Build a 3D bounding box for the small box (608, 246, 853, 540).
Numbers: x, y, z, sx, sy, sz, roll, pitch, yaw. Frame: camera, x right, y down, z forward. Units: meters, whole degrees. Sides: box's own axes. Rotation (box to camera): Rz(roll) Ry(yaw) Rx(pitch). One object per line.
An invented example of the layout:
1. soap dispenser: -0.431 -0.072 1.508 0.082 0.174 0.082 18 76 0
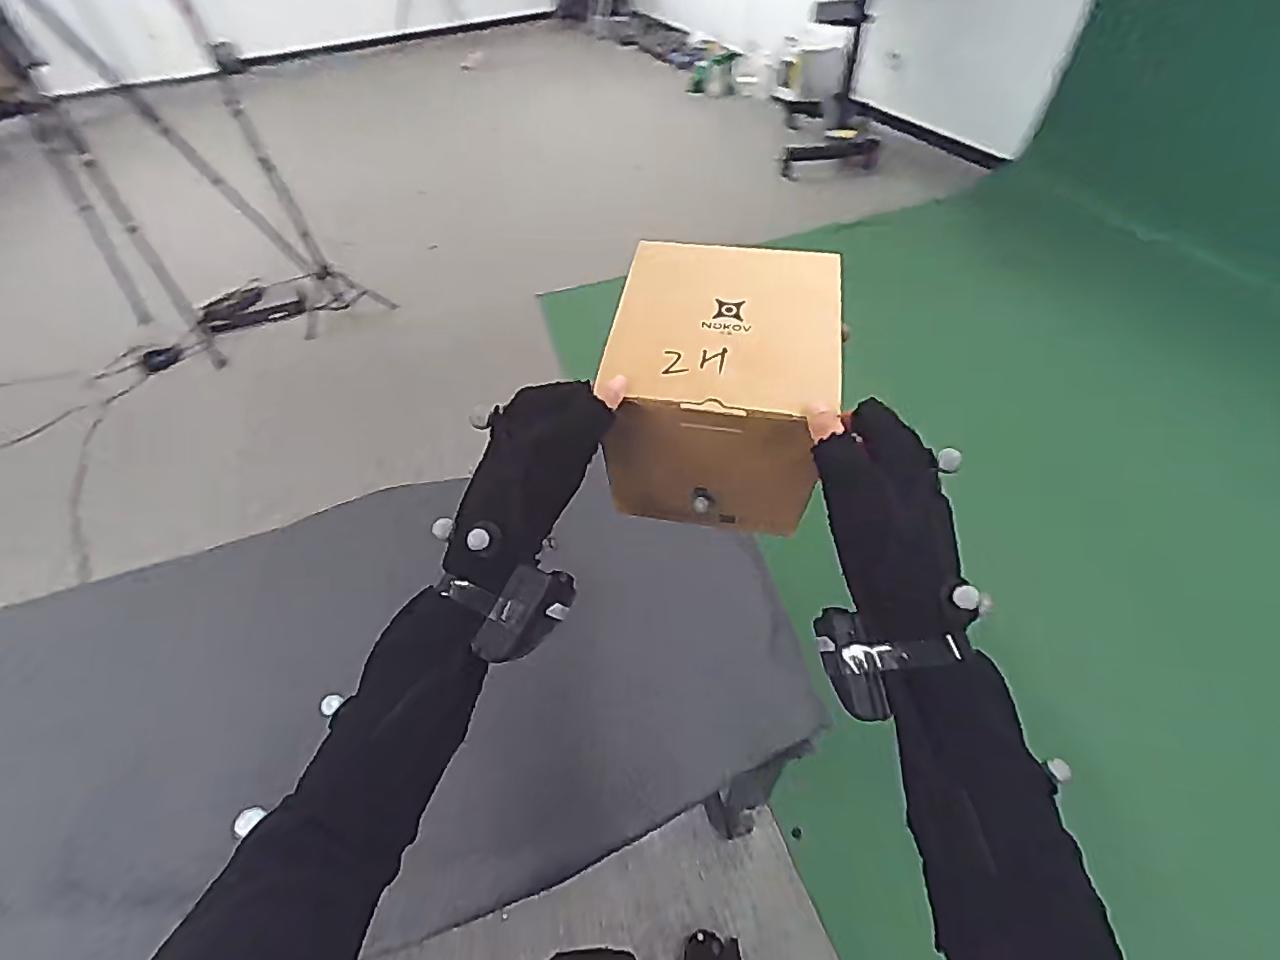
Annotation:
1. small box: 0.078 -0.072 0.469 0.168 0.176 0.179 8 57 10
